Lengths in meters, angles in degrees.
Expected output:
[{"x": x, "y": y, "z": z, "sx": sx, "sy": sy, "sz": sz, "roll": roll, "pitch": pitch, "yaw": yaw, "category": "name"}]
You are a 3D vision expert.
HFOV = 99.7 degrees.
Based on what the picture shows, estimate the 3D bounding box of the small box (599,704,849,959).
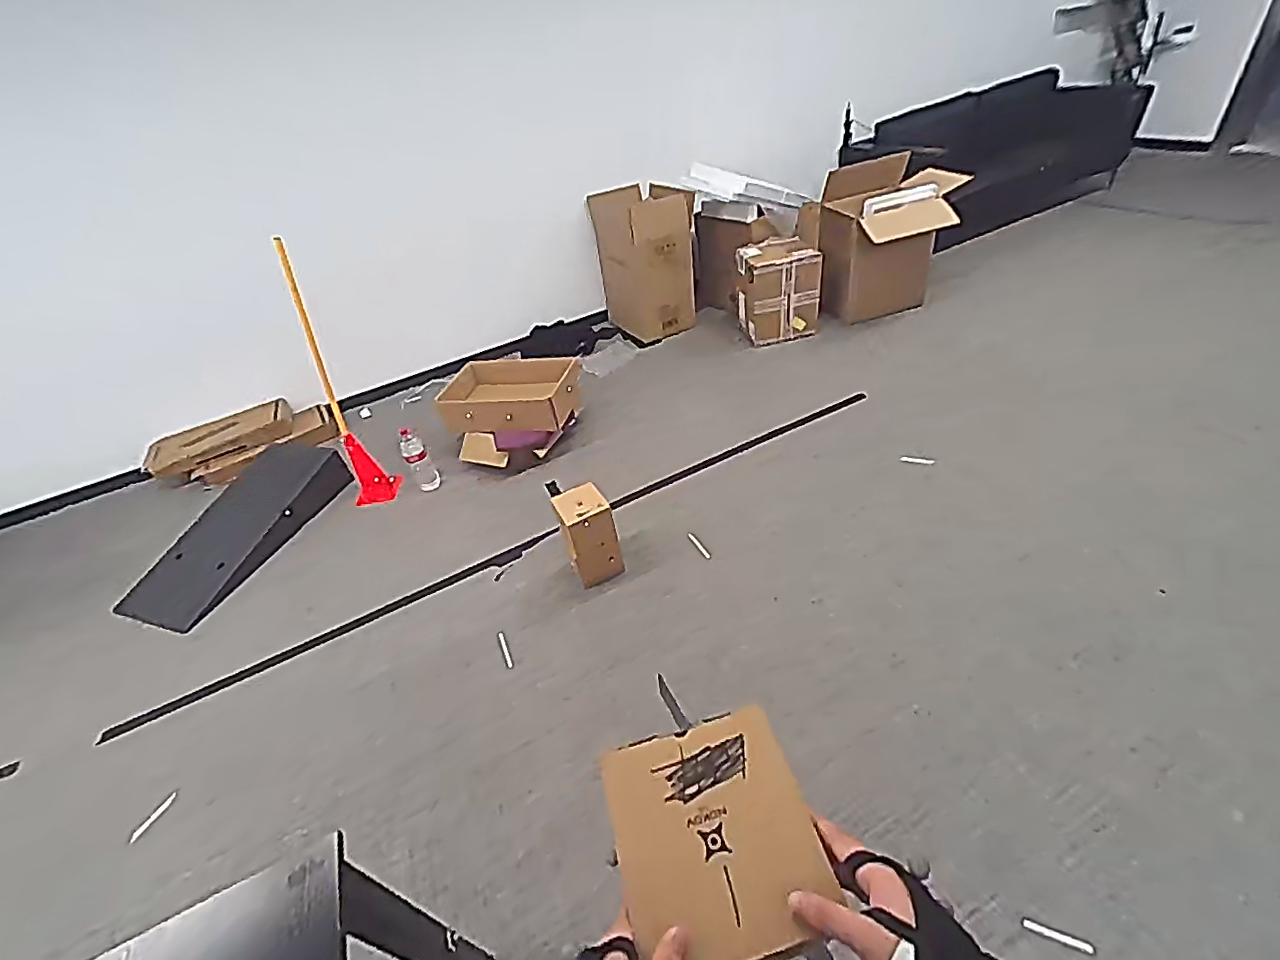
[{"x": 0.067, "y": 0.350, "z": 0.511, "sx": 0.168, "sy": 0.176, "sz": 0.179, "roll": -15, "pitch": 44, "yaw": -7, "category": "small box"}]

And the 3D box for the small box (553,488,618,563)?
[{"x": -0.195, "y": 0.164, "z": 1.945, "sx": 0.168, "sy": 0.176, "sz": 0.179, "roll": -24, "pitch": 38, "yaw": -16, "category": "small box"}]

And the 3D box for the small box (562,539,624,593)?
[{"x": -0.171, "y": 0.292, "z": 2.046, "sx": 0.179, "sy": 0.176, "sz": 0.168, "roll": -24, "pitch": 39, "yaw": -15, "category": "small box"}]
